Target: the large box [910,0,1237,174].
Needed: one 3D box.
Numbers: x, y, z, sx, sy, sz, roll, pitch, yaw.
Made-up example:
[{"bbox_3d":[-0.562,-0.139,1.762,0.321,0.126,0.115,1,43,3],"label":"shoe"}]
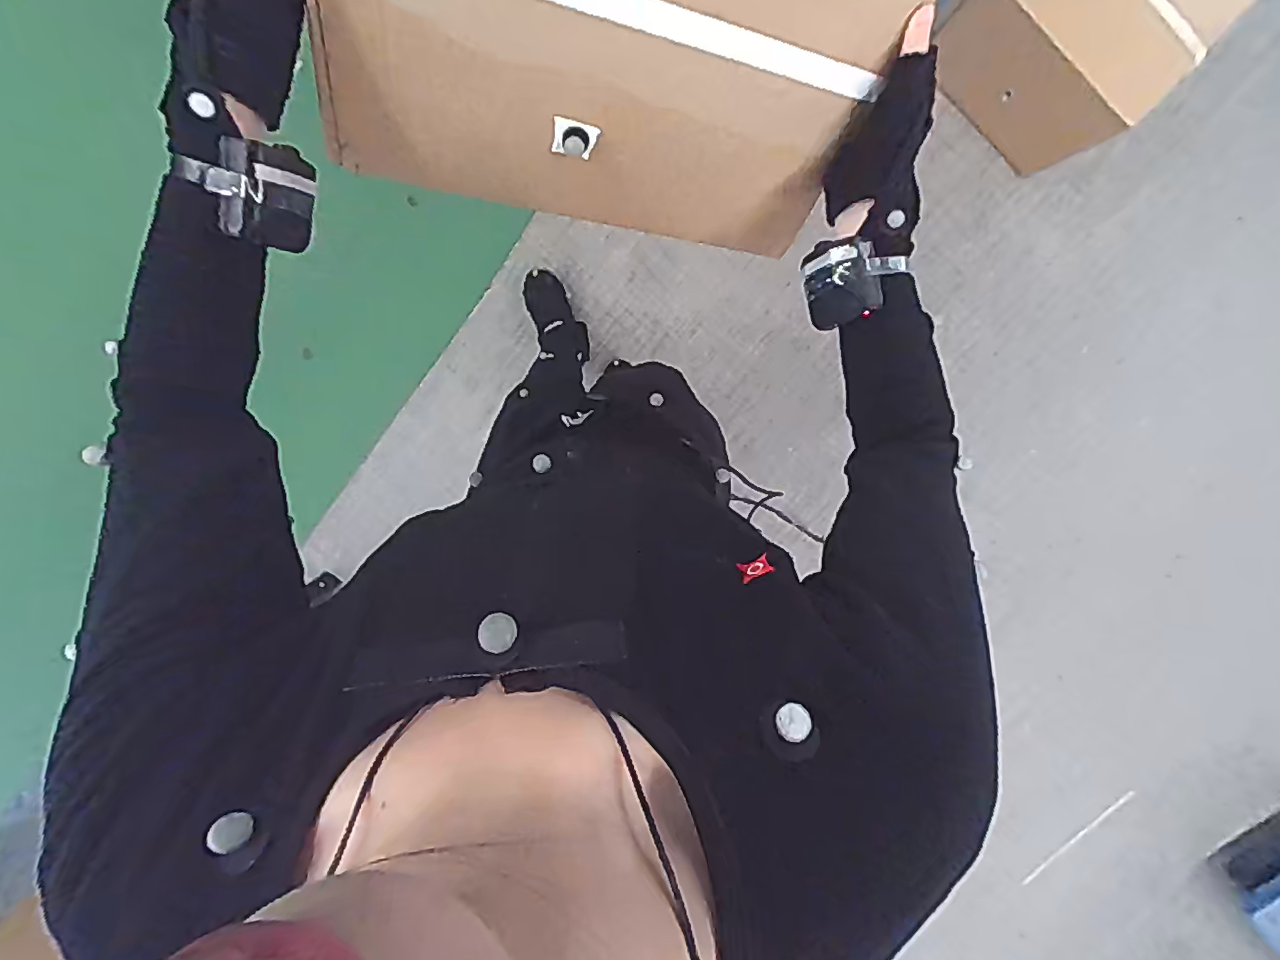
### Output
[{"bbox_3d":[0.883,-0.954,1.145,0.408,0.320,0.320,40,100,-7],"label":"large box"}]
